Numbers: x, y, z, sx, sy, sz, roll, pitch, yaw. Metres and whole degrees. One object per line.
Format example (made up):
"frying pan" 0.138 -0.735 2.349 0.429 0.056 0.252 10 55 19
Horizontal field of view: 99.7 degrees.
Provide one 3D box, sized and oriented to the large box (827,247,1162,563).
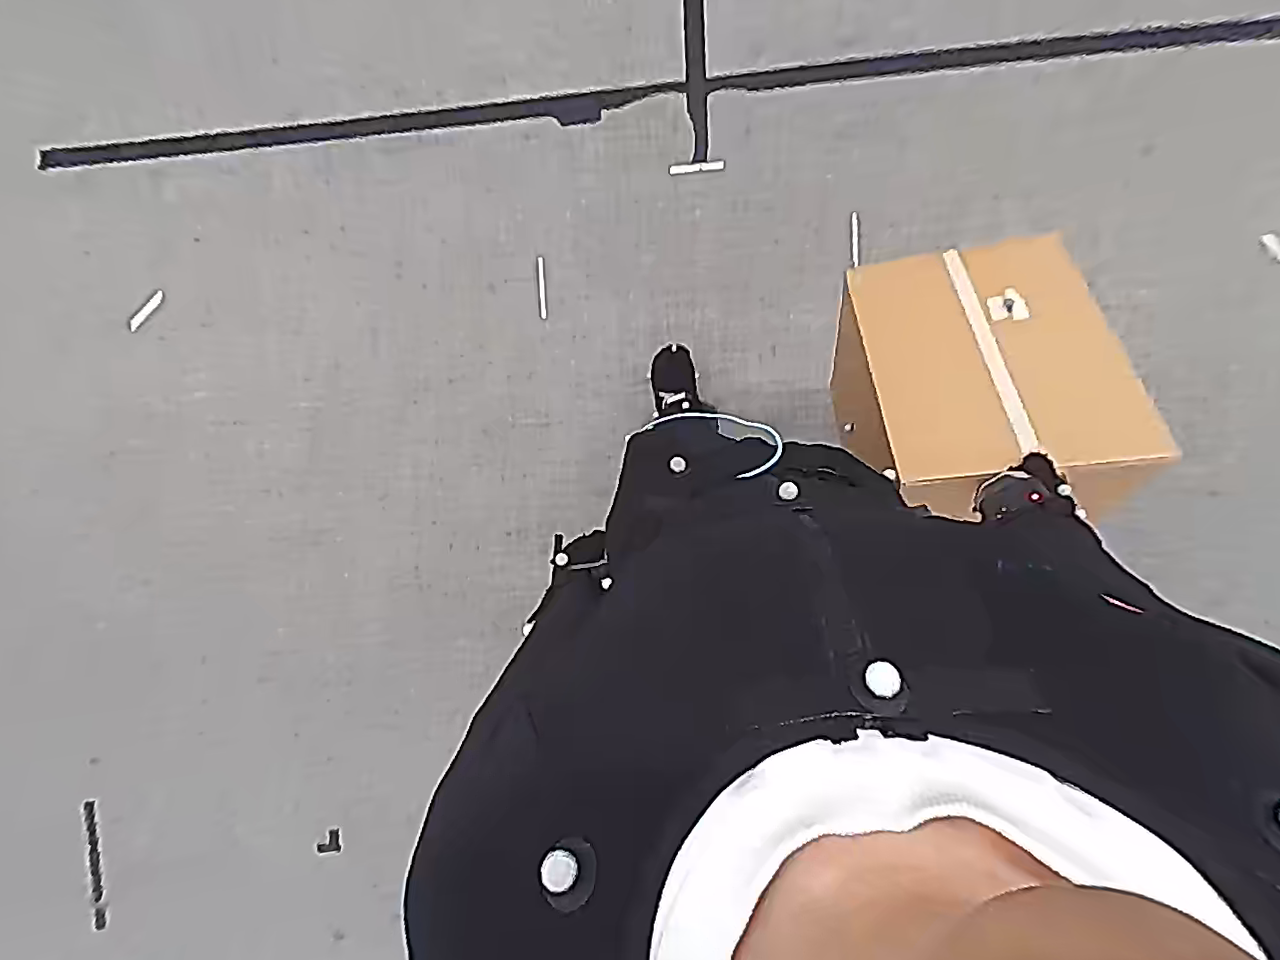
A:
"large box" 0.520 -0.111 0.910 0.320 0.320 0.408 -6 58 9
